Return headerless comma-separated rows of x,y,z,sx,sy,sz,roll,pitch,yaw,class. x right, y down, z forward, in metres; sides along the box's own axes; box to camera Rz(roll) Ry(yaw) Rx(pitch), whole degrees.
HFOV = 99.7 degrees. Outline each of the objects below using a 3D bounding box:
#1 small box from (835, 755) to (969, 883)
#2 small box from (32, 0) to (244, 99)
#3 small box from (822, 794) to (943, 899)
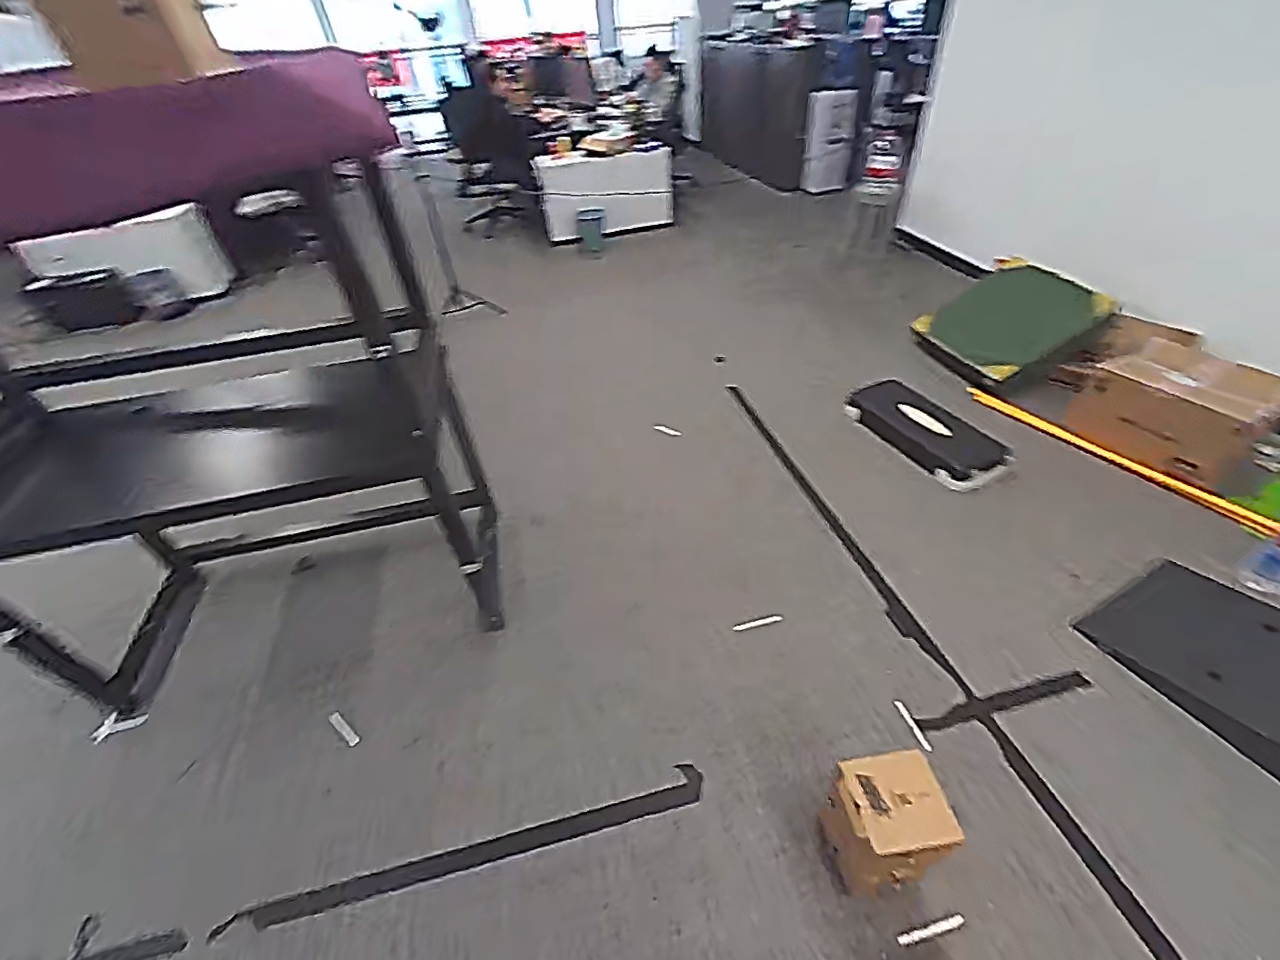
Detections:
0.507,0.680,1.082,0.179,0.176,0.168,-7,42,-3,small box
-0.755,-0.698,0.819,0.179,0.176,0.168,-11,40,-5,small box
0.523,0.799,1.195,0.168,0.176,0.179,-11,43,-6,small box
